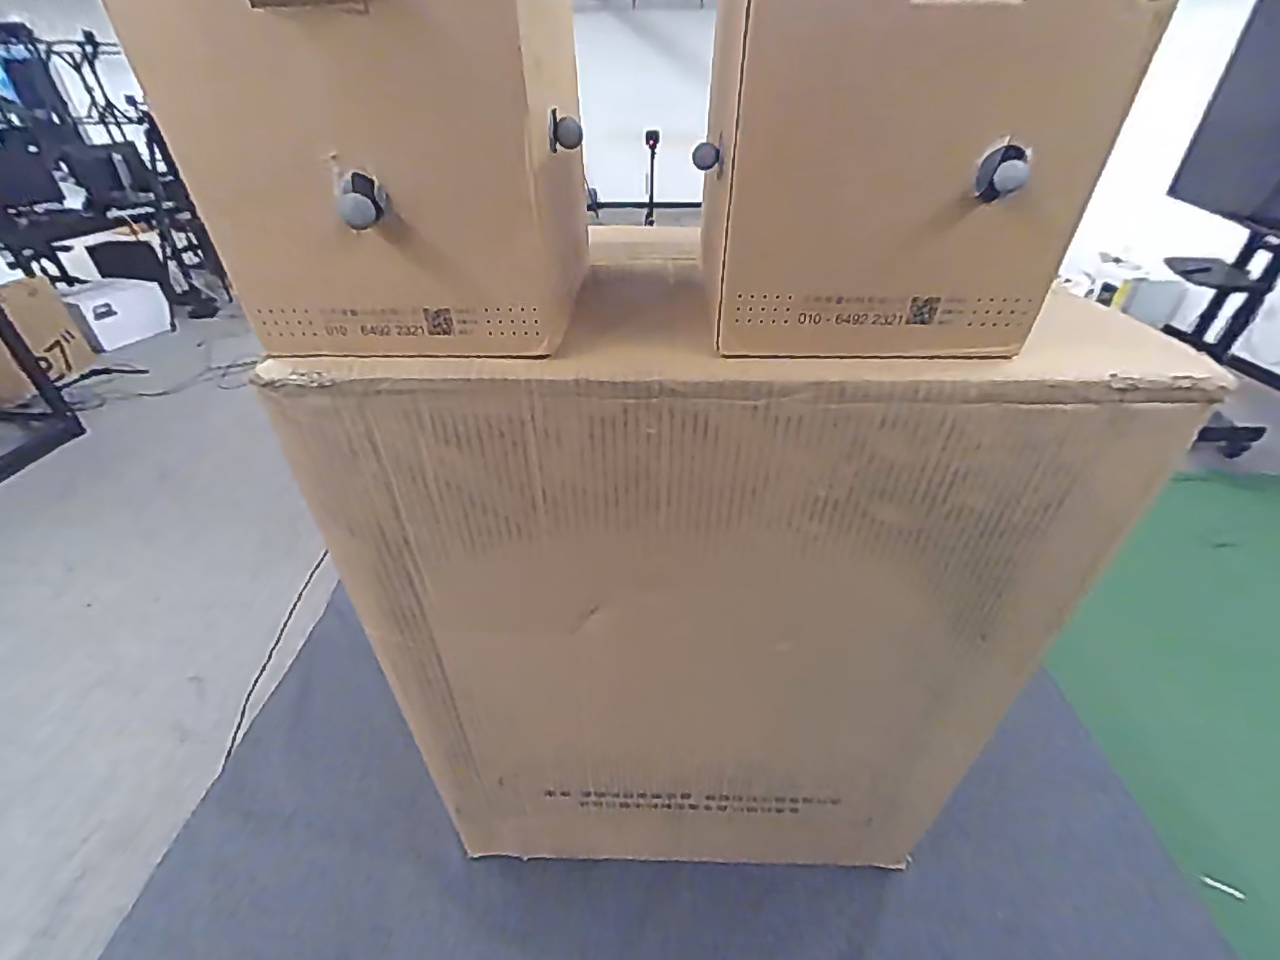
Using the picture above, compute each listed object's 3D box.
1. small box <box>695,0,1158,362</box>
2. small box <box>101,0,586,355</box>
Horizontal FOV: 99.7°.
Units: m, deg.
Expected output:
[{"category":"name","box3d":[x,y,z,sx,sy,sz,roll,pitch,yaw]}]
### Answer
[{"category":"small box","box3d":[0.122,-0.178,0.312,0.168,0.176,0.179,2,36,1]},{"category":"small box","box3d":[-0.126,-0.184,0.319,0.168,0.176,0.179,1,38,2]}]
